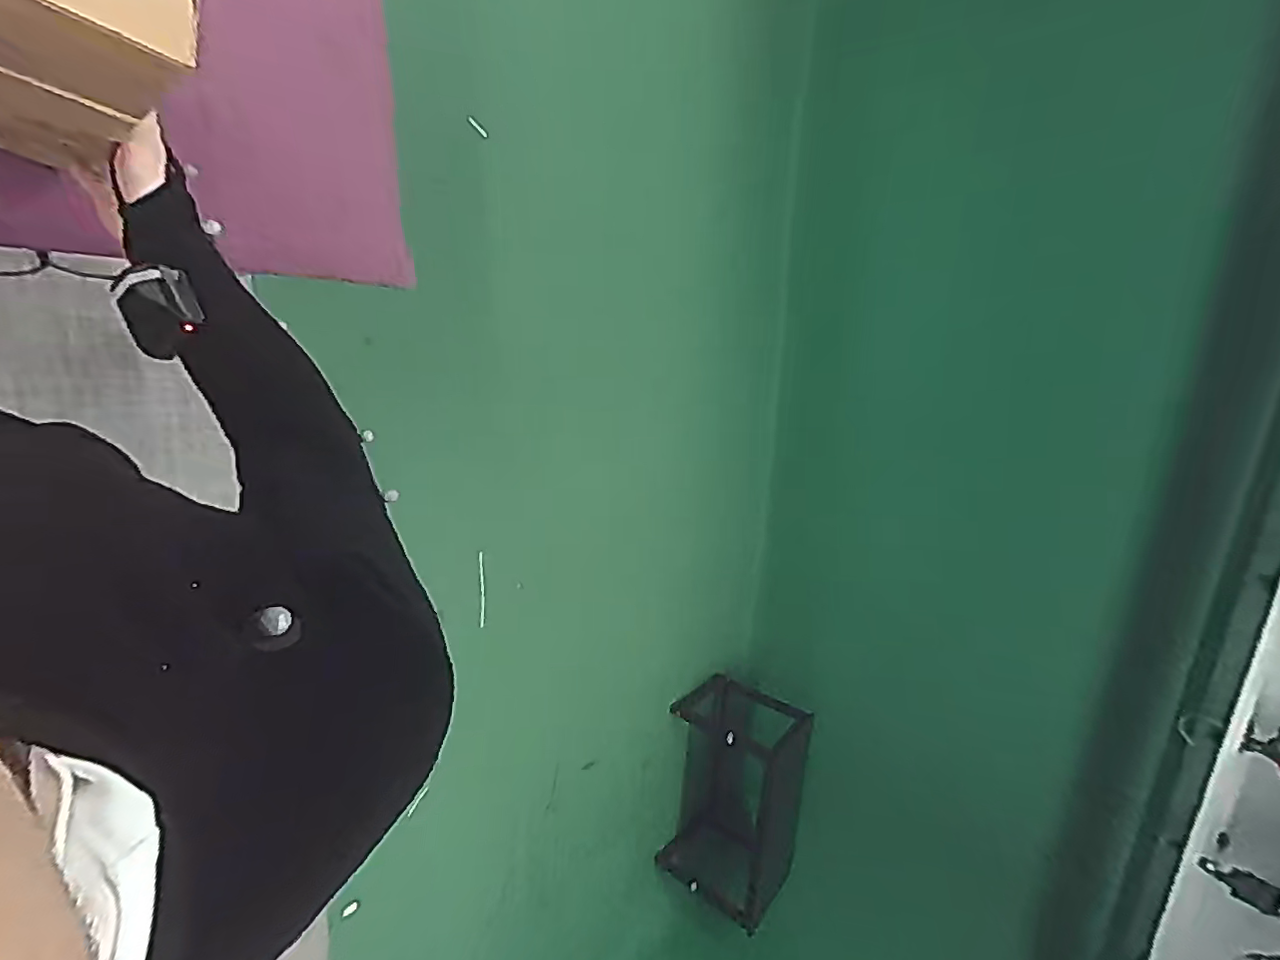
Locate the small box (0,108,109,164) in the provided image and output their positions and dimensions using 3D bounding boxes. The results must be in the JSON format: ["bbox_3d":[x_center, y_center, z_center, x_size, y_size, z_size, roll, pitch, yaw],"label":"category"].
[{"bbox_3d":[-0.594,-0.407,0.478,0.179,0.176,0.168,3,101,-51],"label":"small box"}]

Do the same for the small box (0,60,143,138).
[{"bbox_3d":[-0.471,-0.370,0.377,0.179,0.176,0.168,1,103,-50],"label":"small box"}]

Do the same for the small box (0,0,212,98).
[{"bbox_3d":[-0.345,-0.332,0.277,0.179,0.176,0.168,0,104,-50],"label":"small box"}]
